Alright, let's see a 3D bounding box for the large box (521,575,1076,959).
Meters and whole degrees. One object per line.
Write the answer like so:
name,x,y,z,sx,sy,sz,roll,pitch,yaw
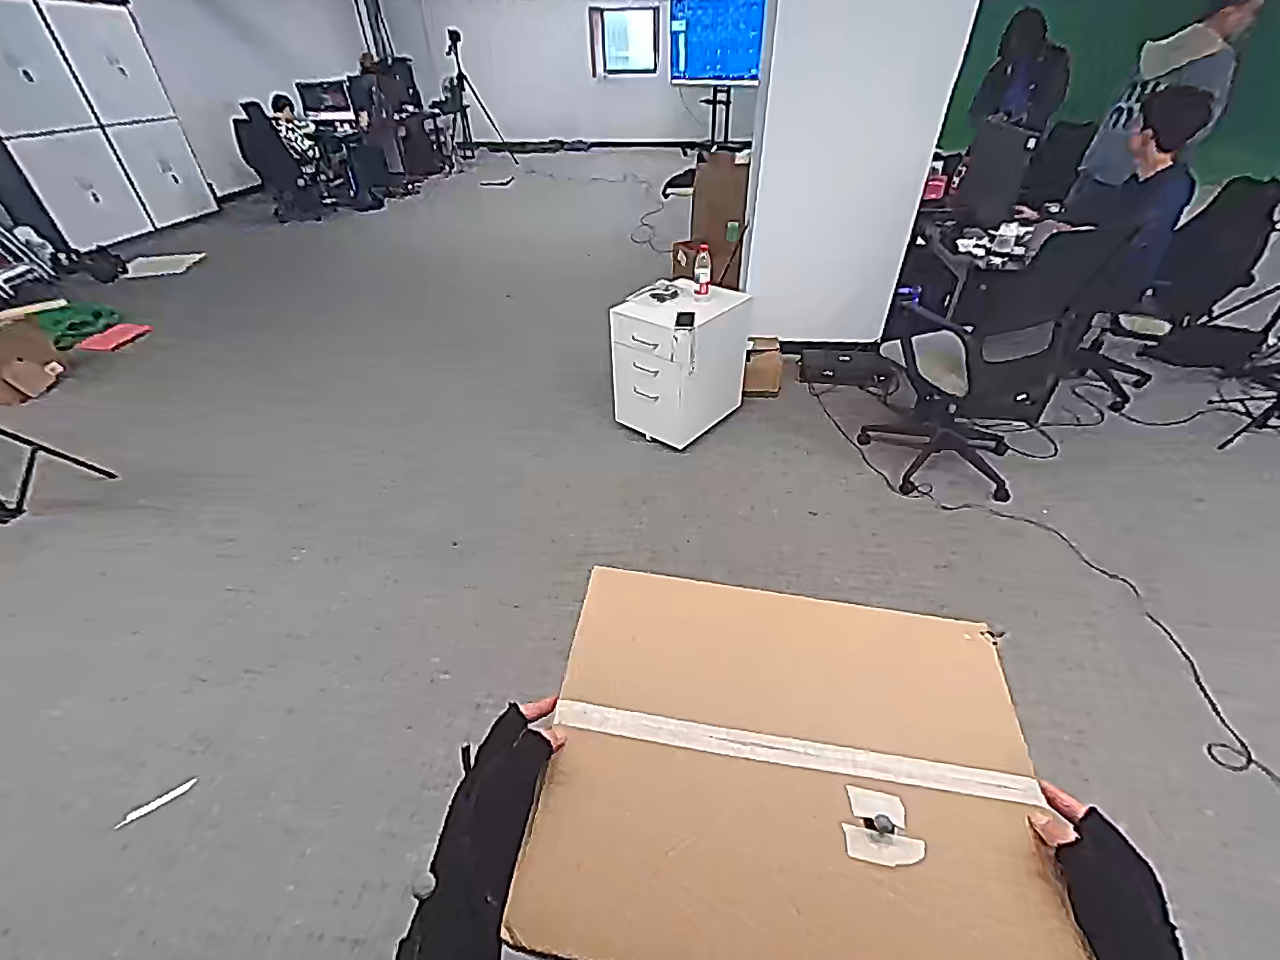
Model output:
large box,0.123,0.338,0.581,0.408,0.320,0.320,8,47,5
